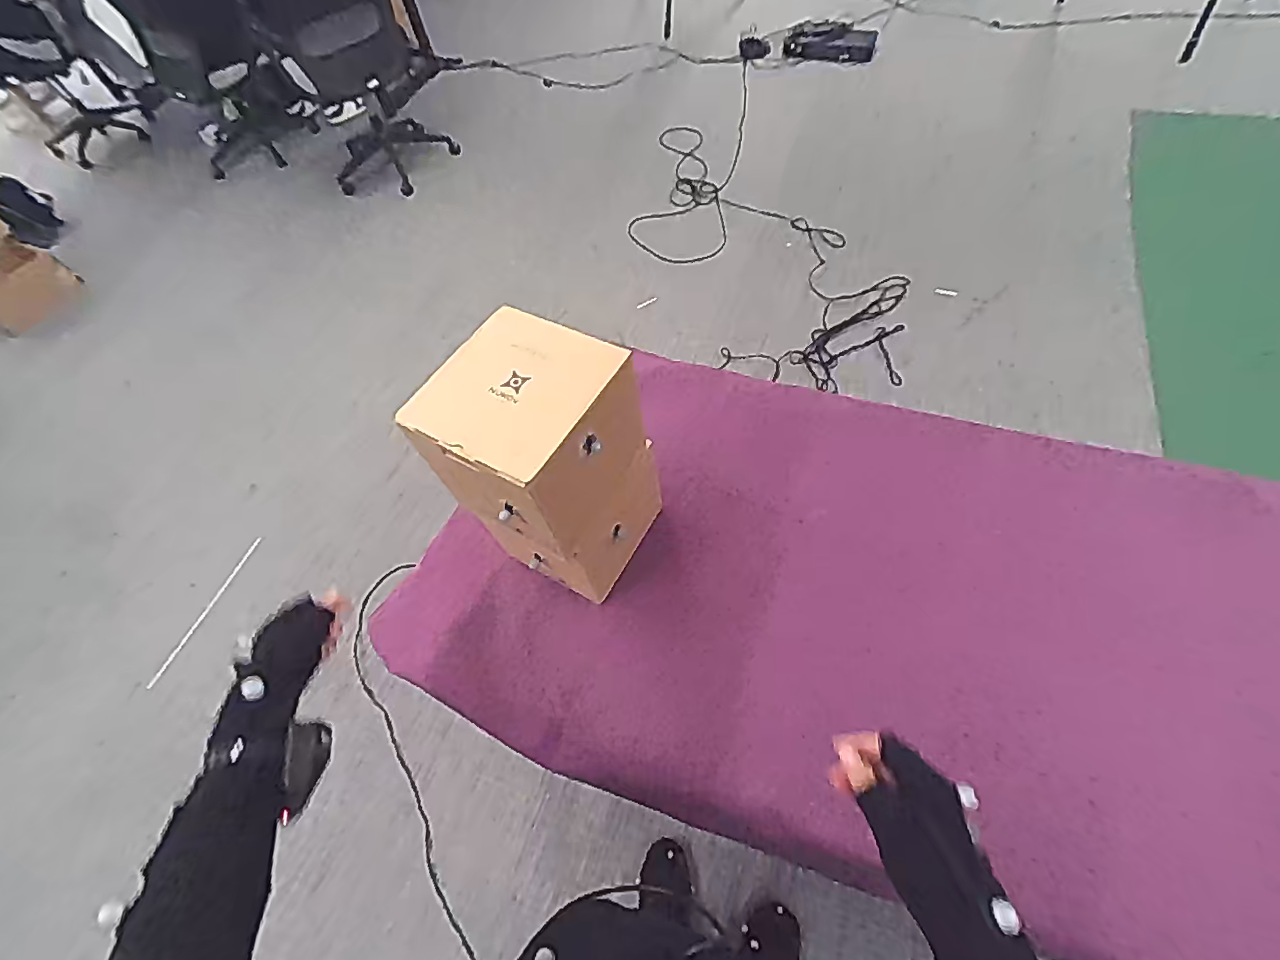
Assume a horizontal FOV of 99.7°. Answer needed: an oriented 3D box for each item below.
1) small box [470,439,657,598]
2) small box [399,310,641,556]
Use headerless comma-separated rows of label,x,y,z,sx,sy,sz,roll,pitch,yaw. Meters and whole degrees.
small box,-0.087,0.033,0.729,0.168,0.176,0.179,24,65,20
small box,-0.111,-0.045,0.587,0.168,0.176,0.179,25,64,20
